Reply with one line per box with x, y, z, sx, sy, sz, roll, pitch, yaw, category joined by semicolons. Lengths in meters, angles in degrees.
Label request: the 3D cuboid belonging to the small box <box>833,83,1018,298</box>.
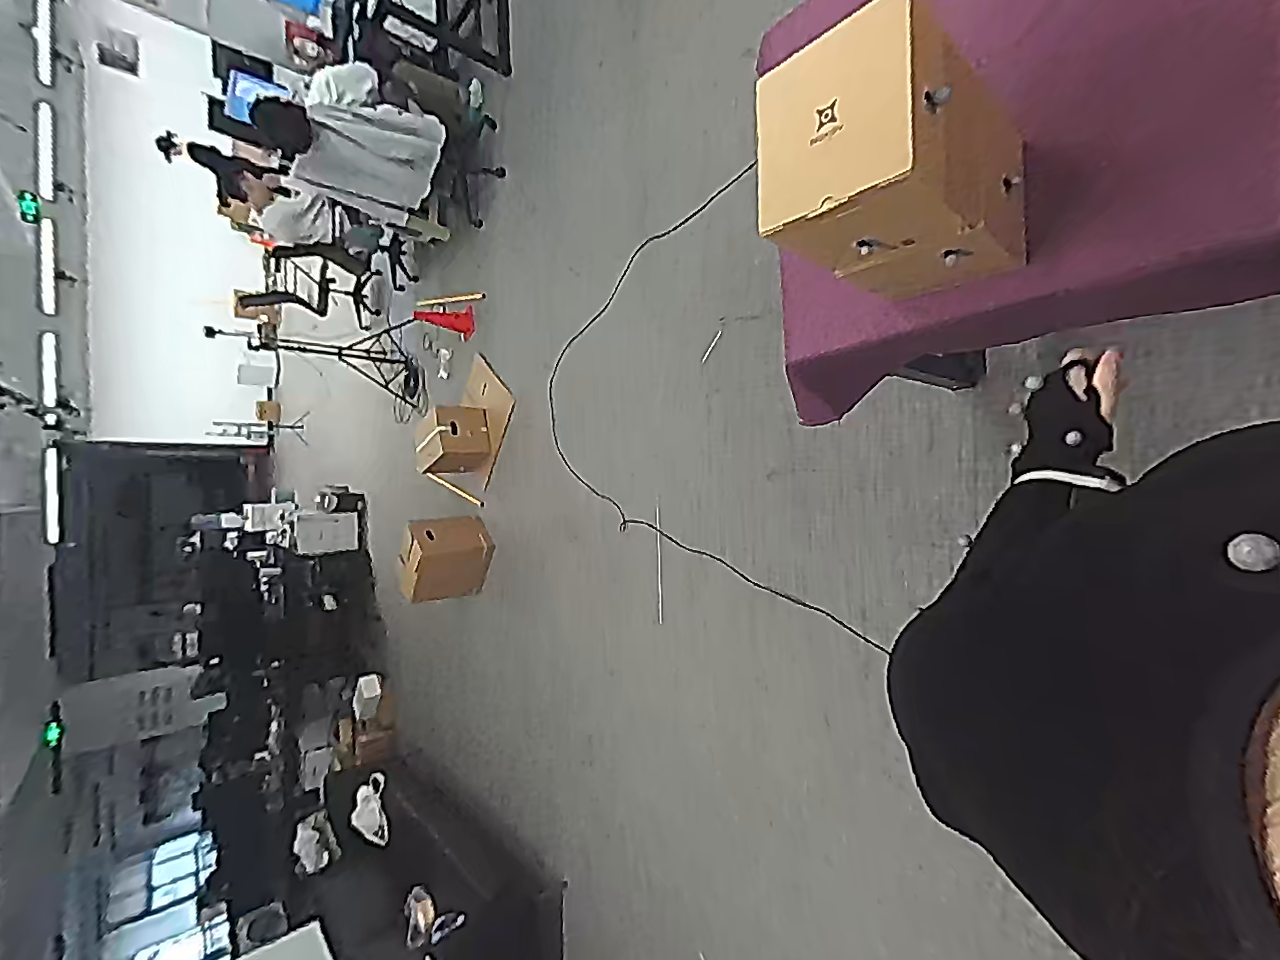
0.373;-0.355;0.705;0.179;0.176;0.168;-2;88;49;small box

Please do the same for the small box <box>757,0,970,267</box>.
0.248;-0.363;0.600;0.168;0.176;0.179;-1;90;49;small box
